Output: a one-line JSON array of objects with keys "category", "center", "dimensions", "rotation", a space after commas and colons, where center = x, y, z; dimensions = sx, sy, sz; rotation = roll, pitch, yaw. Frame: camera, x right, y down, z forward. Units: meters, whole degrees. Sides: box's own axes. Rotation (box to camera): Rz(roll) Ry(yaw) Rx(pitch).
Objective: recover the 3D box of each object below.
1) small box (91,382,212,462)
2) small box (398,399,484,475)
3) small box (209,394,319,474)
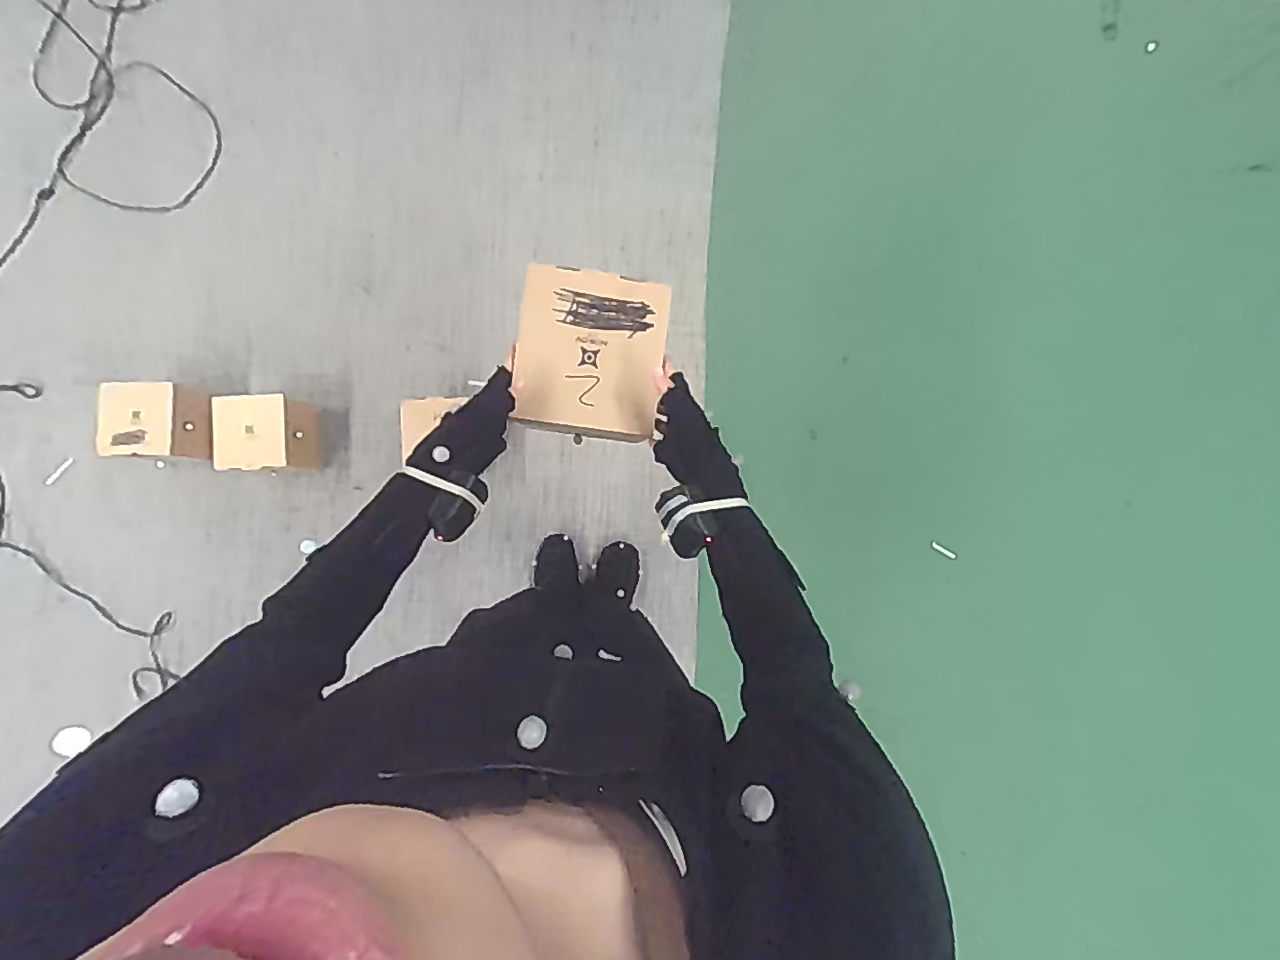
[{"category": "small box", "center": [-1.175, -0.135, 1.321], "dimensions": [0.168, 0.176, 0.179], "rotation": [0, 87, -4]}, {"category": "small box", "center": [-0.495, -0.103, 1.363], "dimensions": [0.168, 0.176, 0.179], "rotation": [-3, 88, -5]}, {"category": "small box", "center": [-0.921, -0.108, 1.337], "dimensions": [0.168, 0.176, 0.179], "rotation": [-3, 89, -3]}]
